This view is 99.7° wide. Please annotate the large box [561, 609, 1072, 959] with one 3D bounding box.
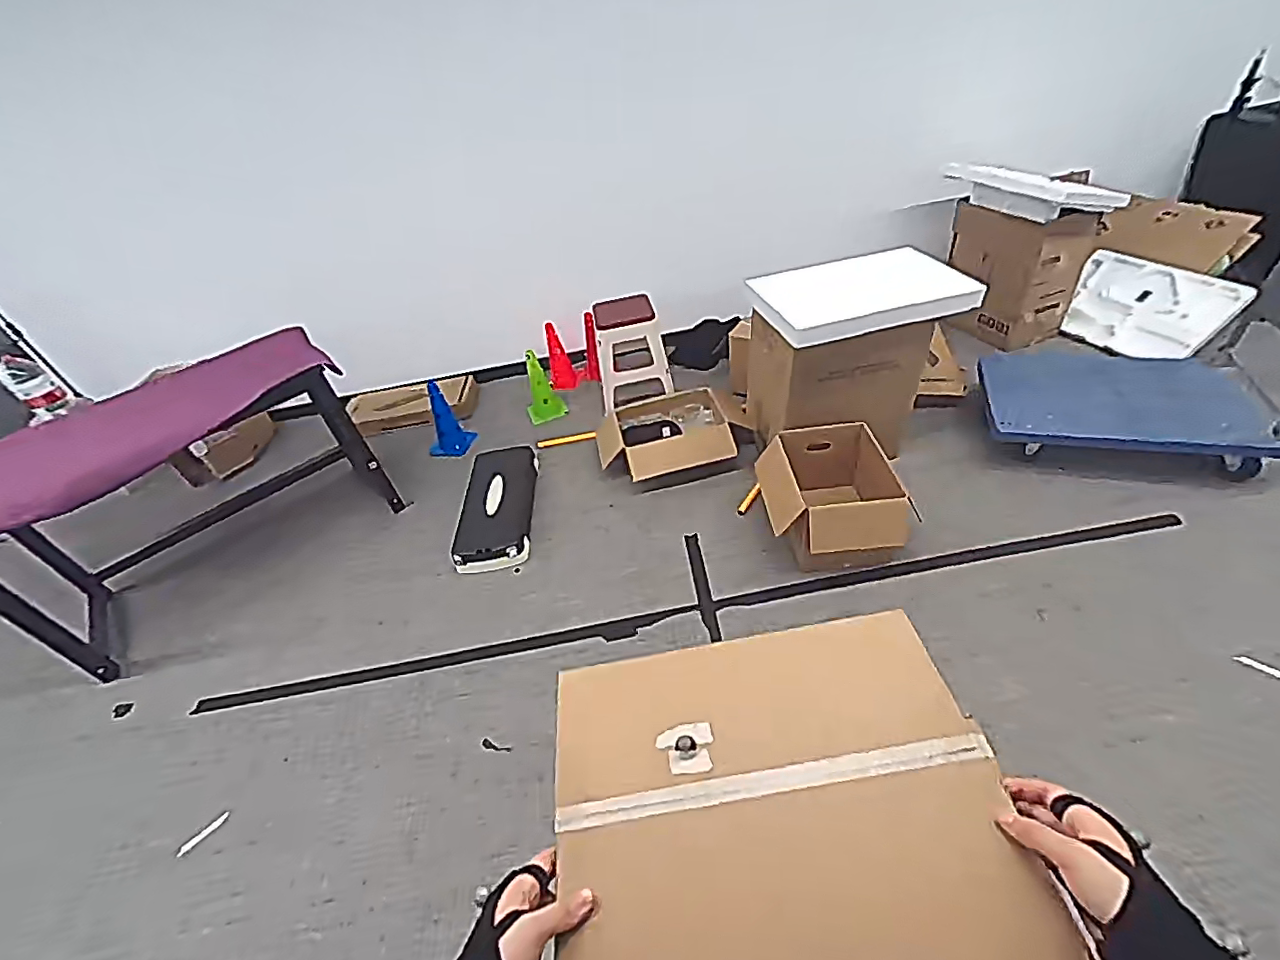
[{"bbox_3d":[0.147,0.399,0.619,0.408,0.320,0.320,-13,40,4],"label":"large box"}]
